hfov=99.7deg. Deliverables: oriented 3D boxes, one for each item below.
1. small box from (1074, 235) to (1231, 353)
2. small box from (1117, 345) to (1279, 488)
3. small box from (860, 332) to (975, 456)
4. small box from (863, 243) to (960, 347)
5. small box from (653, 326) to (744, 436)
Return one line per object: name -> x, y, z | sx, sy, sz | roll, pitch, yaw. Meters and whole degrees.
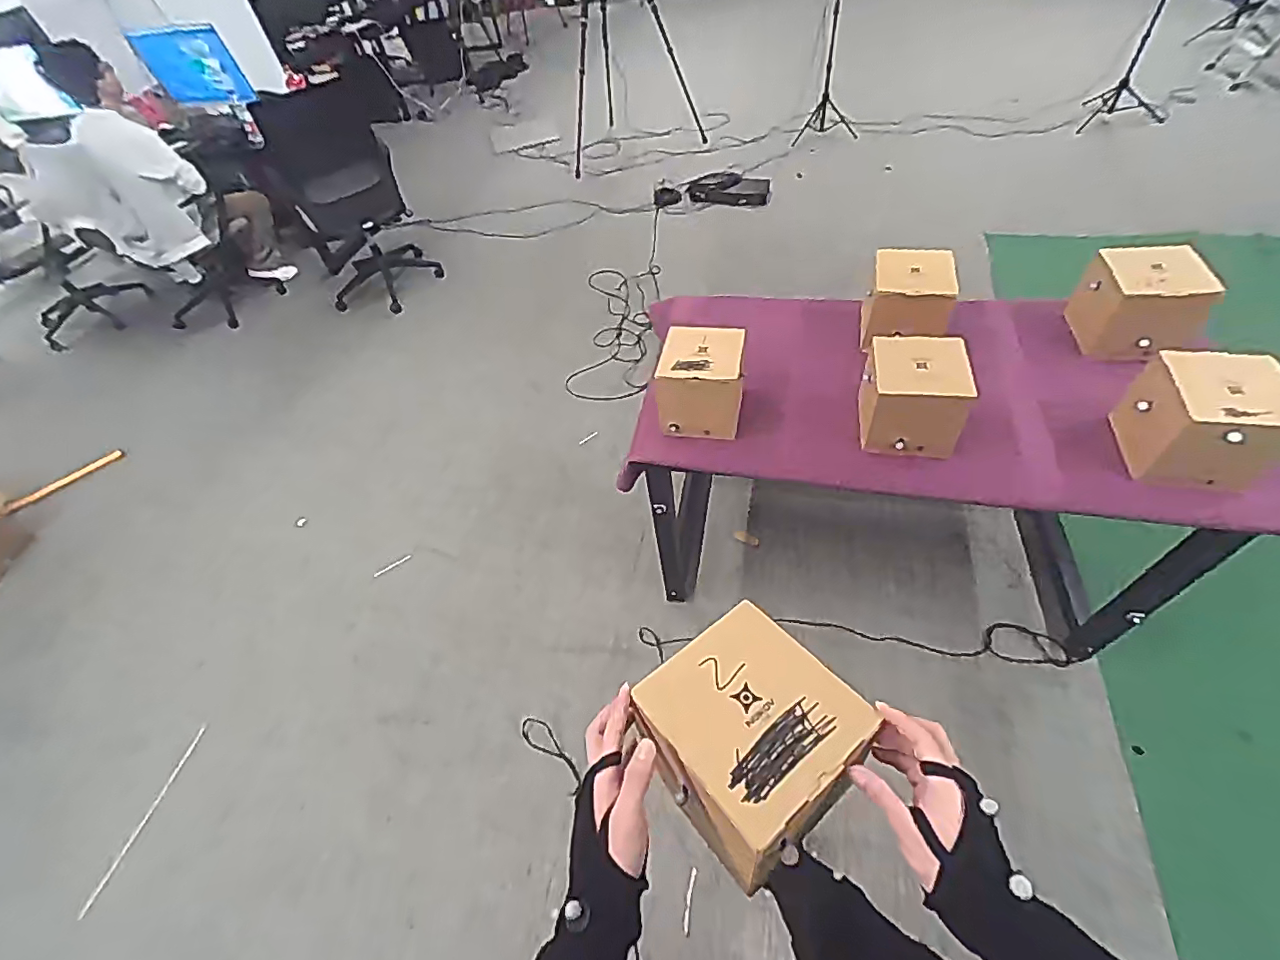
small box -> 1.063, -0.390, 1.144 | 0.168, 0.176, 0.179 | 3, 54, 16
small box -> 0.982, -0.111, 0.940 | 0.168, 0.176, 0.179 | 5, 54, 16
small box -> 0.537, -0.171, 1.072 | 0.168, 0.176, 0.179 | 5, 52, 15
small box -> 0.622, -0.425, 1.258 | 0.168, 0.176, 0.179 | 7, 56, 15
small box -> 0.135, -0.214, 1.175 | 0.168, 0.176, 0.179 | 5, 51, 14
